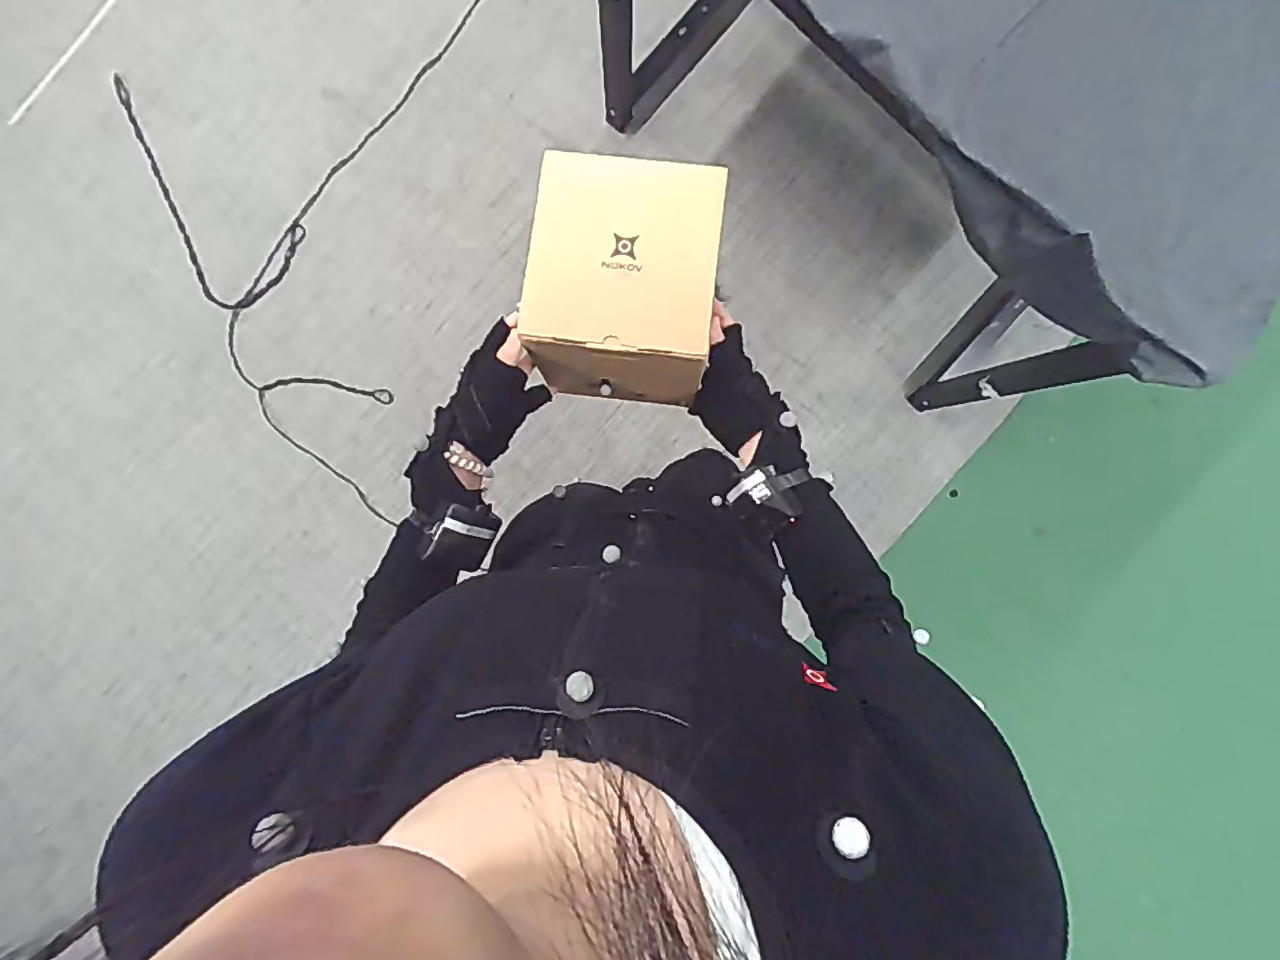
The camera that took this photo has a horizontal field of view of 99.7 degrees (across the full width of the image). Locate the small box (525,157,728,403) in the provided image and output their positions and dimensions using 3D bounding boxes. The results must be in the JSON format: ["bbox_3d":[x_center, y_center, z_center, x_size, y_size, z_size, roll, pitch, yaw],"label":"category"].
[{"bbox_3d":[-0.011,-0.192,0.564,0.168,0.176,0.179,7,85,1],"label":"small box"}]
